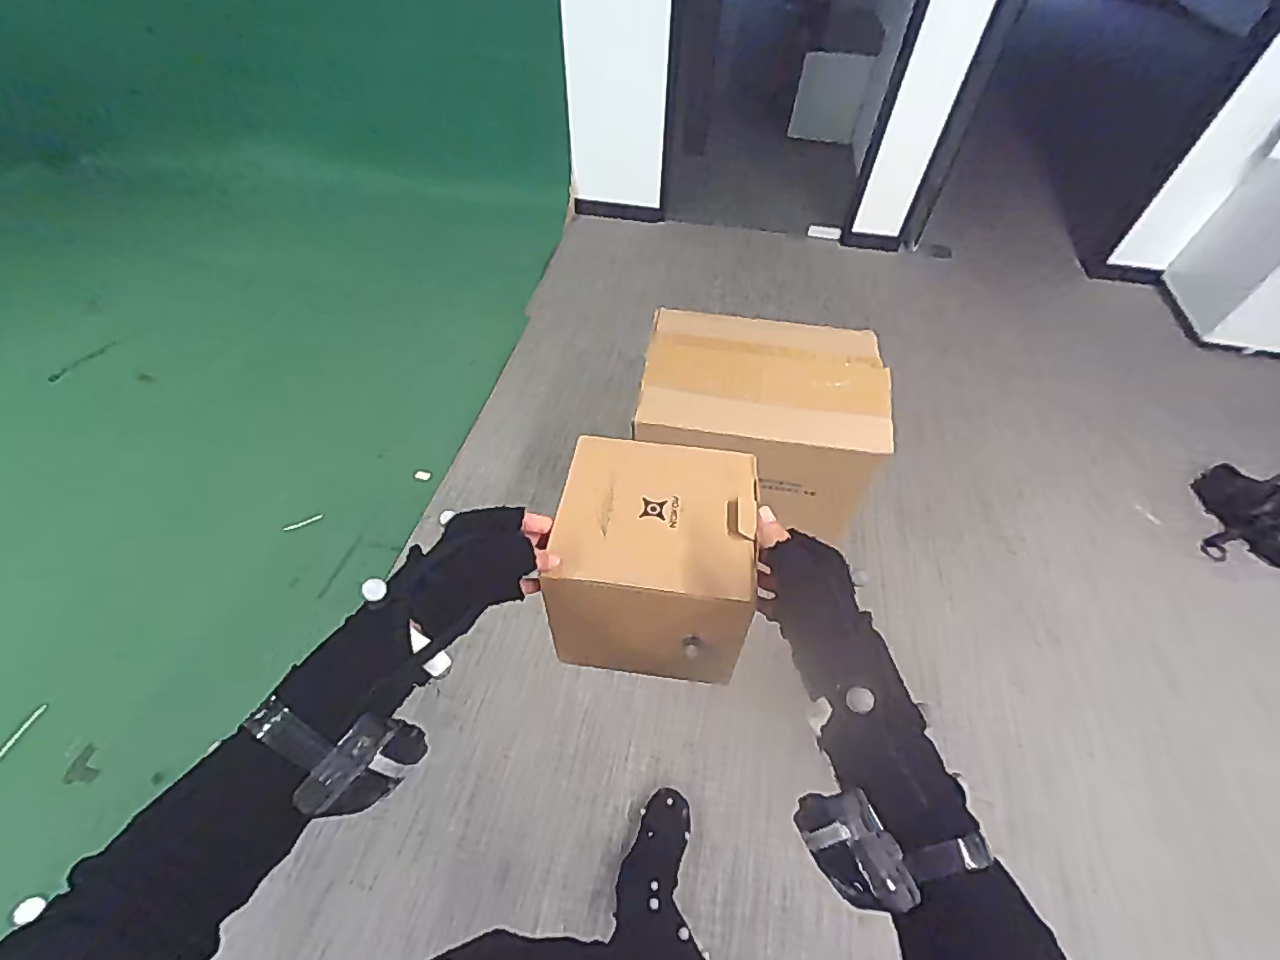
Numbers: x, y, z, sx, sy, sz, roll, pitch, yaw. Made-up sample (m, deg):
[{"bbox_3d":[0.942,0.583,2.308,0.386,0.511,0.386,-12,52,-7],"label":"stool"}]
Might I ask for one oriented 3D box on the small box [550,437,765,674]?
[{"bbox_3d":[0.021,0.079,0.544,0.179,0.176,0.168,5,47,4],"label":"small box"}]
